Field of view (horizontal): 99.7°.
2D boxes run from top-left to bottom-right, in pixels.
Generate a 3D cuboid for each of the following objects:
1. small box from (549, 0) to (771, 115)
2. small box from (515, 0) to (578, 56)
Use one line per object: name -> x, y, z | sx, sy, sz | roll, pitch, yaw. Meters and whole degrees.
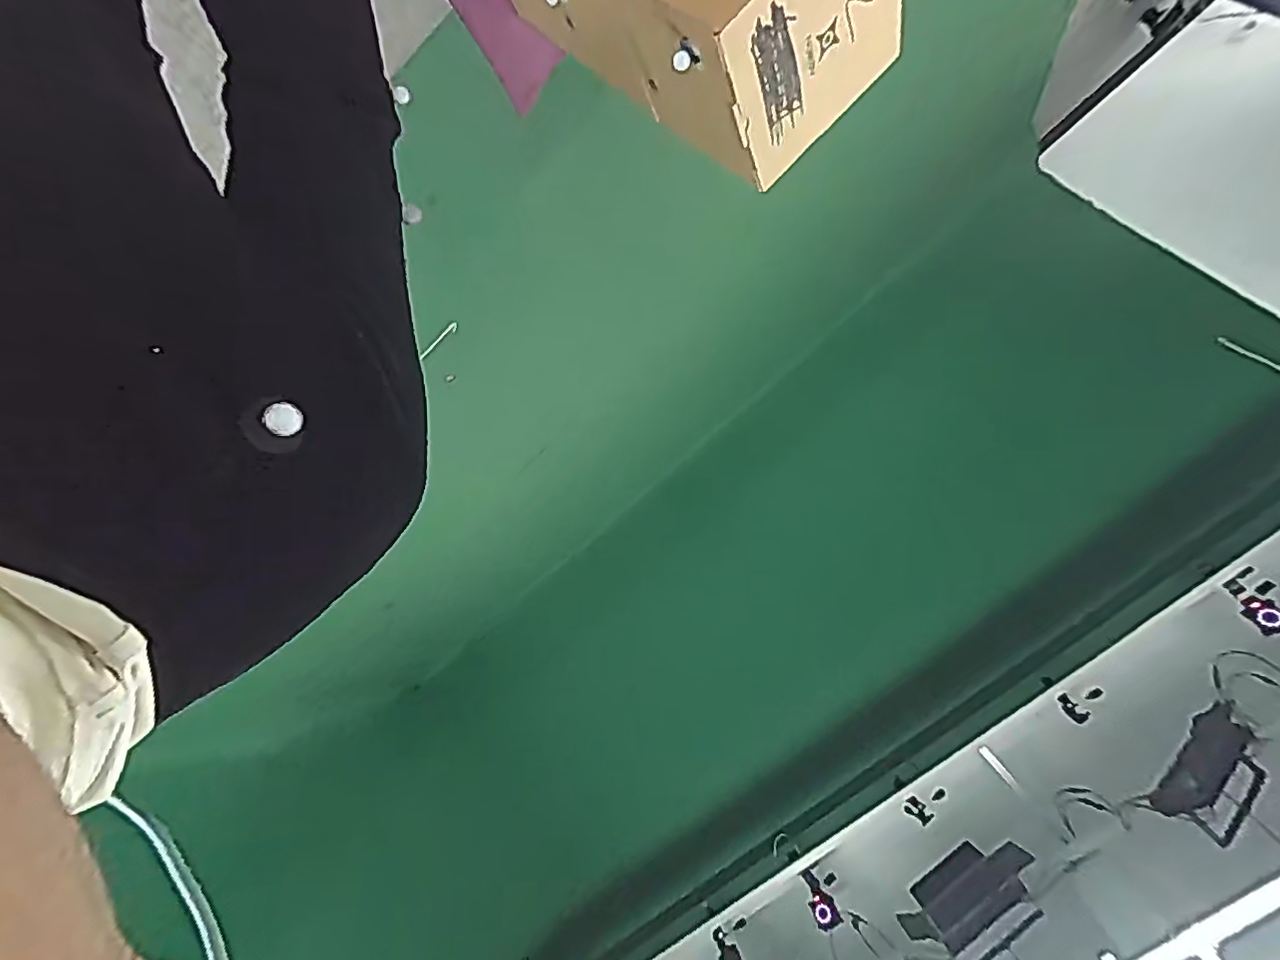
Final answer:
small box -> 0.005, -0.536, 0.550 | 0.179, 0.176, 0.168 | -41, 156, 6
small box -> -0.091, -0.652, 0.612 | 0.168, 0.176, 0.179 | -41, 157, 6
